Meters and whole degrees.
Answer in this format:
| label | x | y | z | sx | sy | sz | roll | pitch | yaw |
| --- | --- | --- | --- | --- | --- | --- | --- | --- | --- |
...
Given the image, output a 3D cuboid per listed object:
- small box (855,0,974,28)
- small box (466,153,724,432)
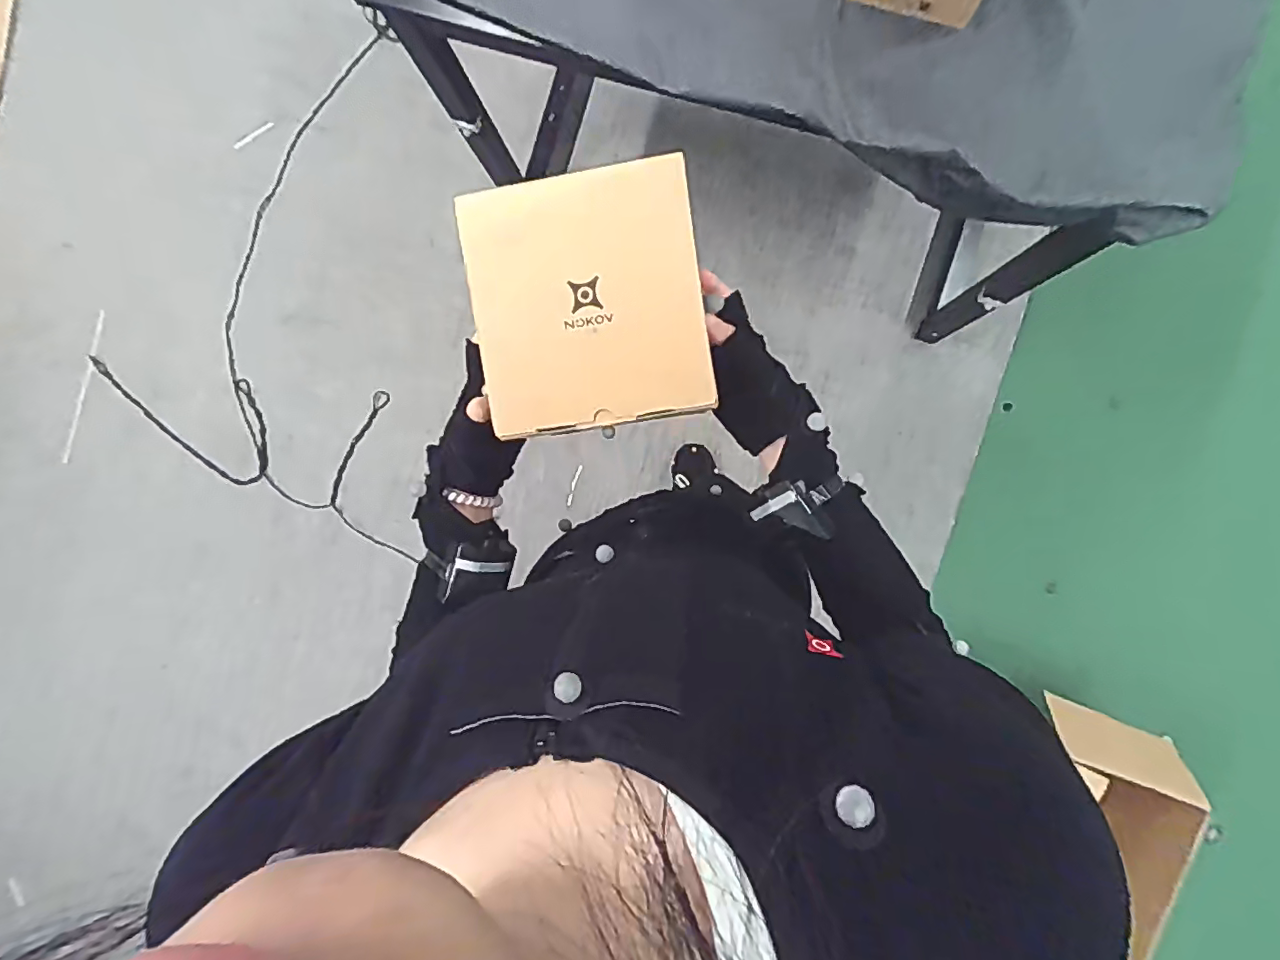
| label | x | y | z | sx | sy | sz | roll | pitch | yaw |
| --- | --- | --- | --- | --- | --- | --- | --- | --- | --- |
| small box | 0.371 | -0.709 | 0.645 | 0.168 | 0.176 | 0.179 | 19 | 92 | 4 |
| small box | -0.029 | -0.140 | 0.465 | 0.168 | 0.176 | 0.179 | -9 | 97 | 4 |
